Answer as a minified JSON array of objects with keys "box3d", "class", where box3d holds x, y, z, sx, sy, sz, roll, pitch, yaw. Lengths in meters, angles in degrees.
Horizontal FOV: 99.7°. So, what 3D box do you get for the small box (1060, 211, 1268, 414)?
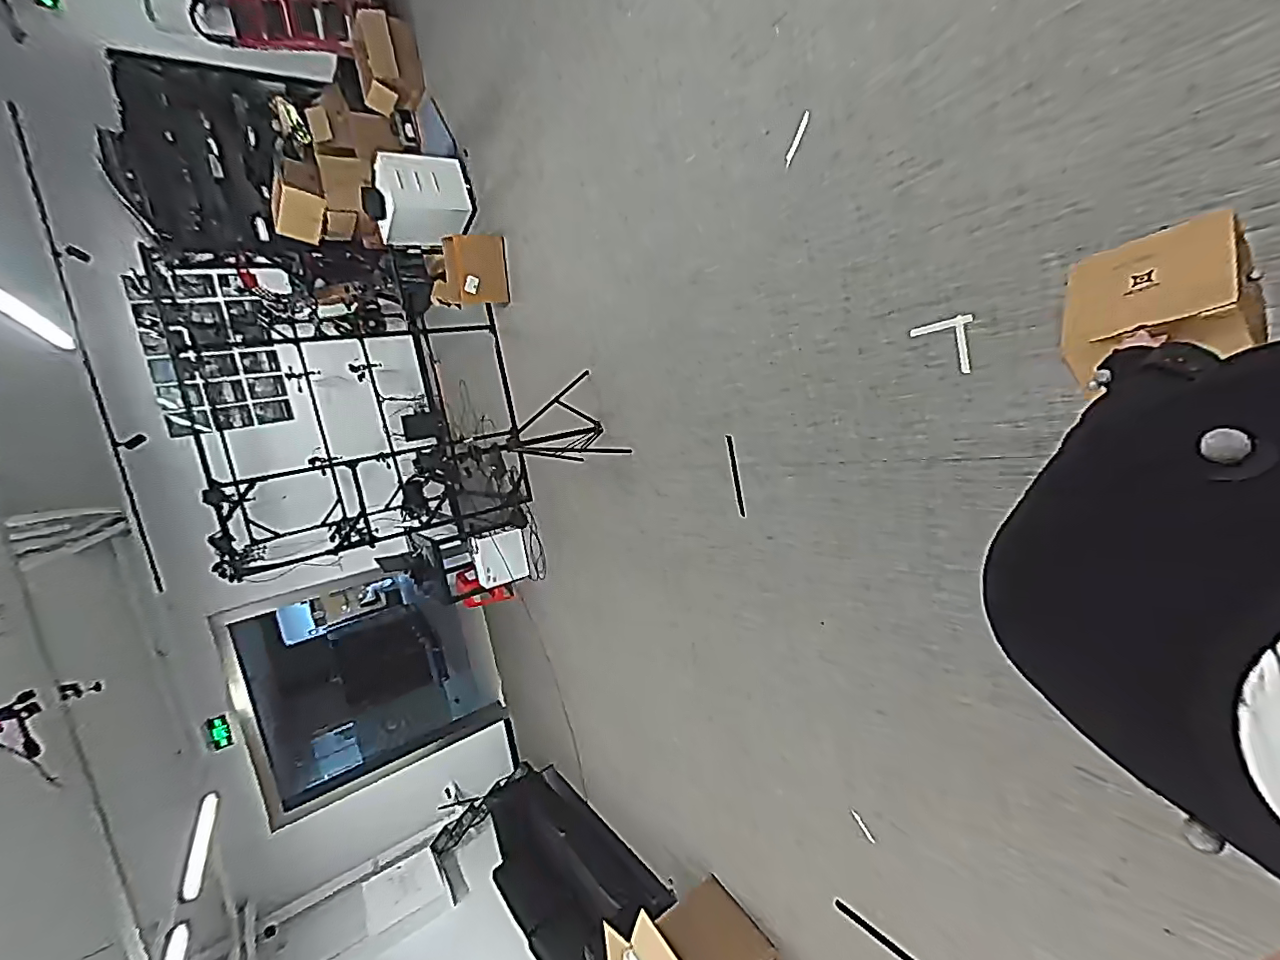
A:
[{"box3d":[0.700,-0.206,0.725,0.176,0.179,0.168,38,154,-25],"class":"small box"}]
